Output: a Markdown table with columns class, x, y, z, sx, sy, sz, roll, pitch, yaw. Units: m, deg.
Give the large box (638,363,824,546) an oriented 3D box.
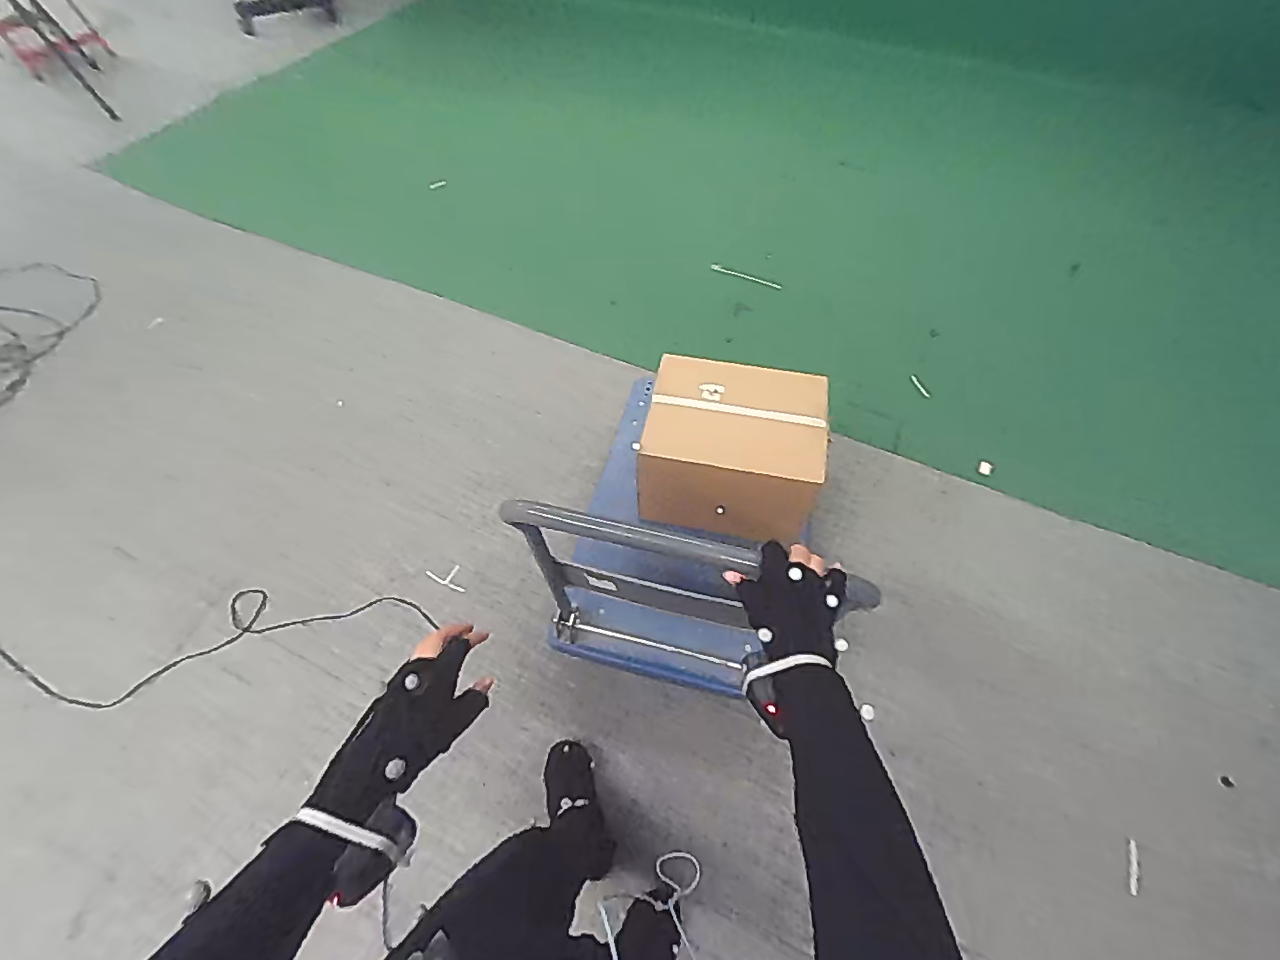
| class | x | y | z | sx | sy | sz | roll | pitch | yaw |
| --- | --- | --- | --- | --- | --- | --- | --- | --- | --- |
| large box | 0.226 | -0.059 | 1.366 | 0.408 | 0.320 | 0.320 | 9 | 57 | 8 |
